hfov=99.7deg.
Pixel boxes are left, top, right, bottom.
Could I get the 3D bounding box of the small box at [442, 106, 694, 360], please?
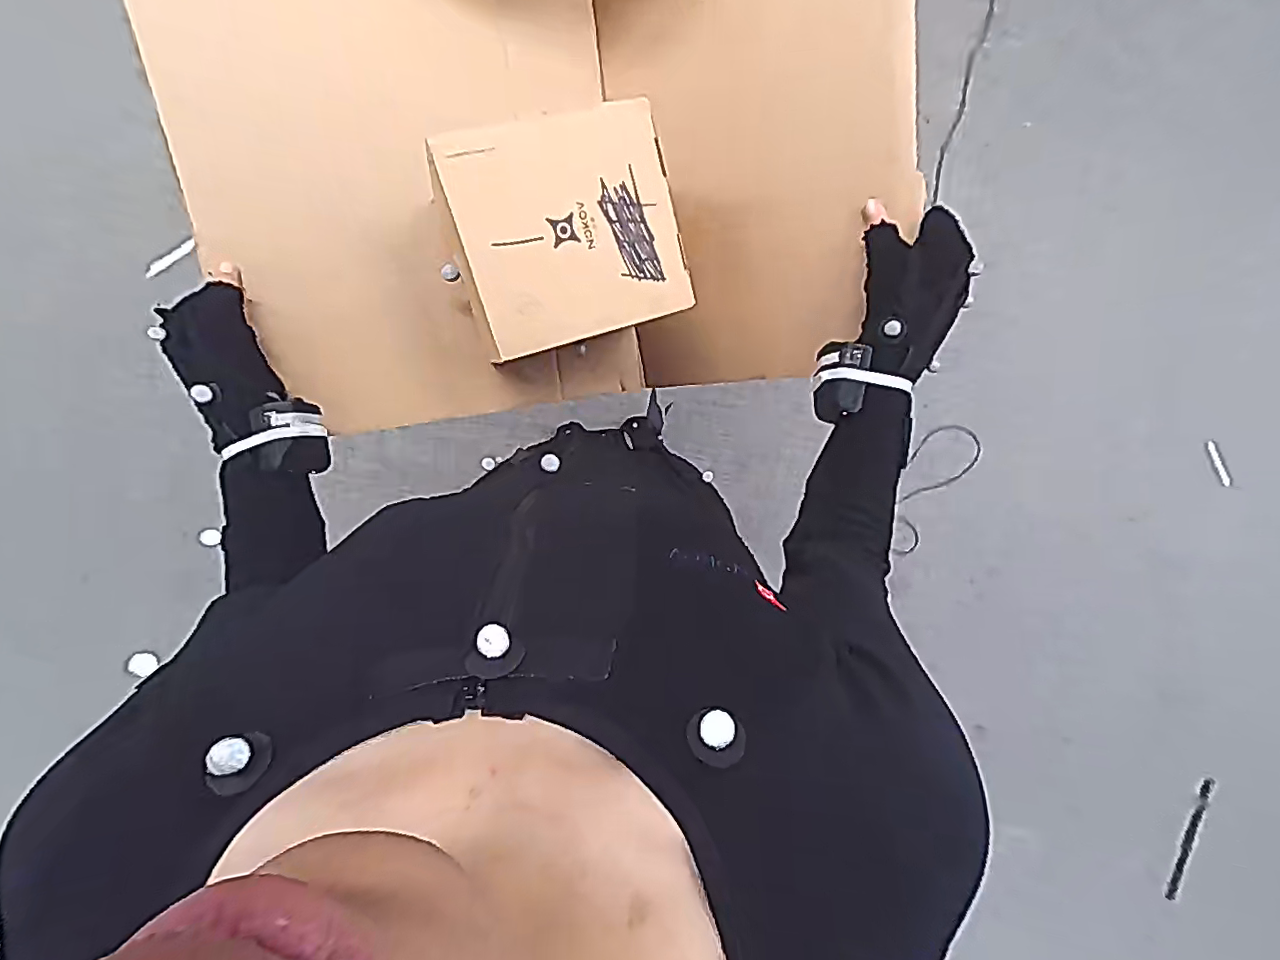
[{"bbox_3d":[-0.074,-0.217,0.511,0.179,0.176,0.168,-19,107,-13],"label":"small box"}]
